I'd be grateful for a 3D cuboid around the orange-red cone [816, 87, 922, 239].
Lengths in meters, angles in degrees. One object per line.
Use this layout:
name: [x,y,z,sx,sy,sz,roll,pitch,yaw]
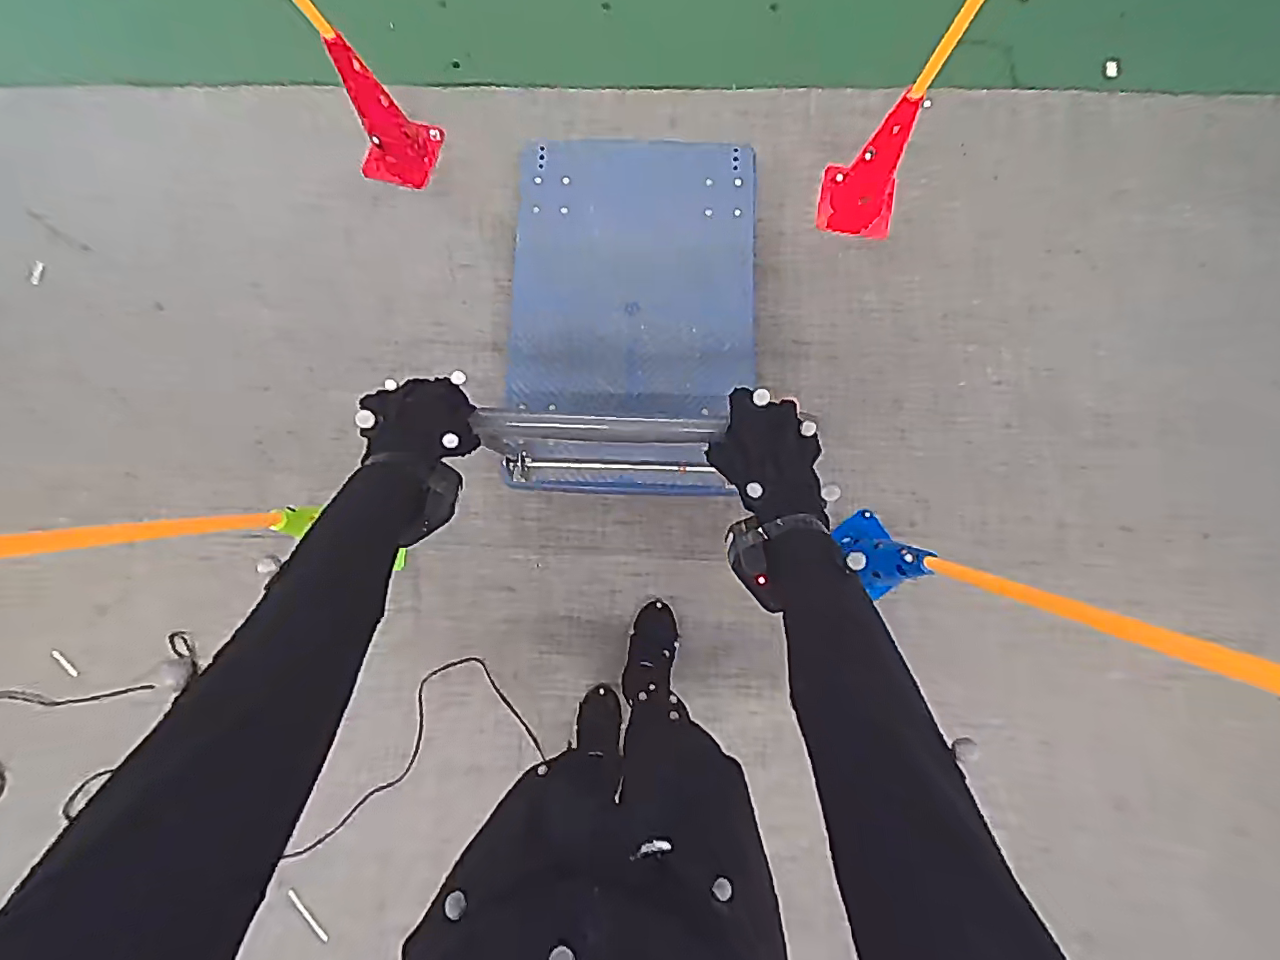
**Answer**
orange-red cone: [0.592,-0.793,1.325,0.198,0.360,0.199,13,83,4]
